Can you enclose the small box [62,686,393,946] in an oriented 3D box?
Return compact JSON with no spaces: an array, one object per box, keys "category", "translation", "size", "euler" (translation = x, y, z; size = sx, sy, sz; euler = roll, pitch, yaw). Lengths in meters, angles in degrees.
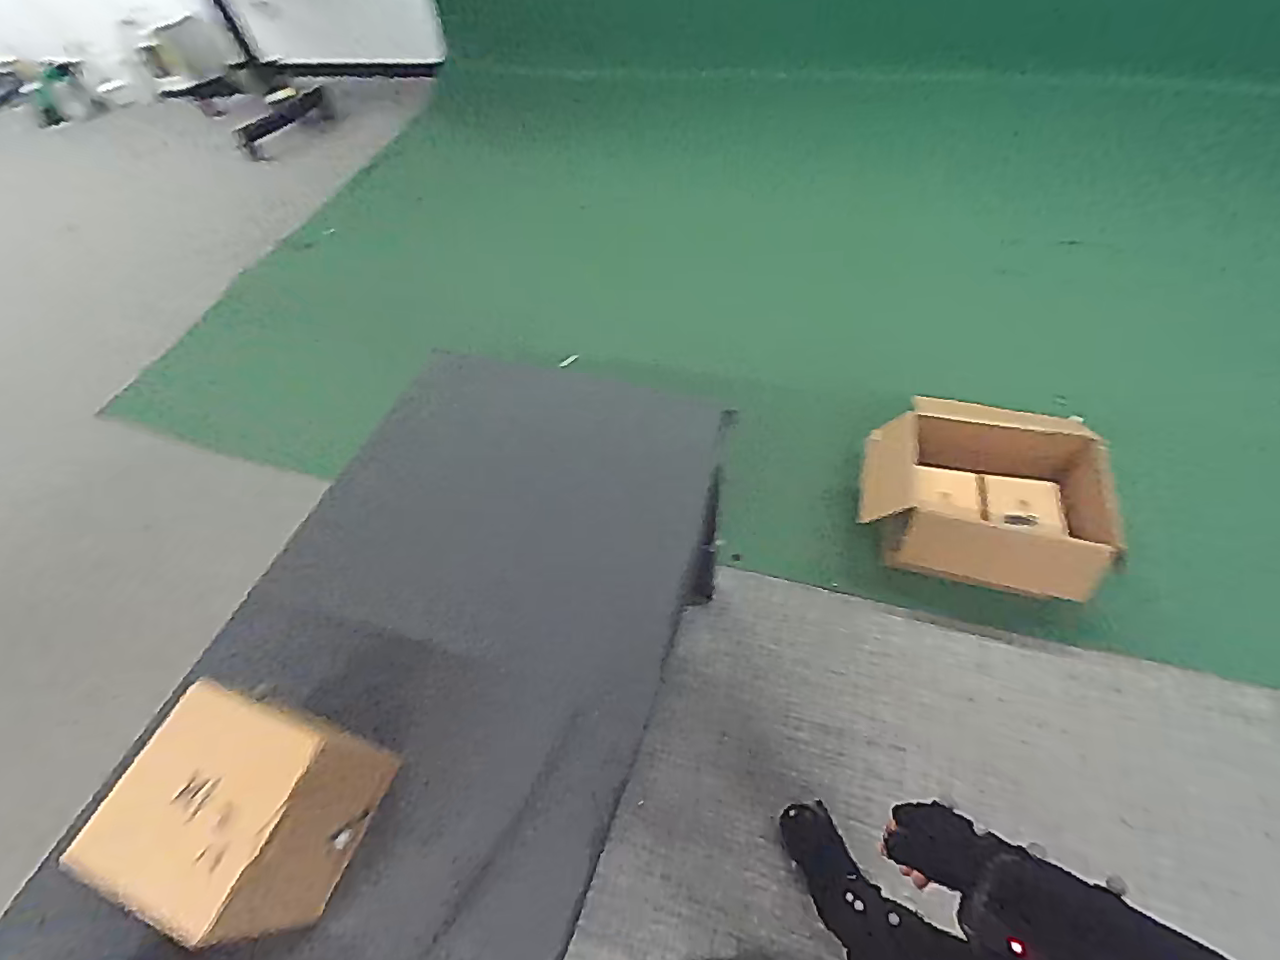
[{"category":"small box","translation":[-0.407,0.344,0.570],"size":[0.179,0.176,0.168],"euler":[14,59,15]}]
